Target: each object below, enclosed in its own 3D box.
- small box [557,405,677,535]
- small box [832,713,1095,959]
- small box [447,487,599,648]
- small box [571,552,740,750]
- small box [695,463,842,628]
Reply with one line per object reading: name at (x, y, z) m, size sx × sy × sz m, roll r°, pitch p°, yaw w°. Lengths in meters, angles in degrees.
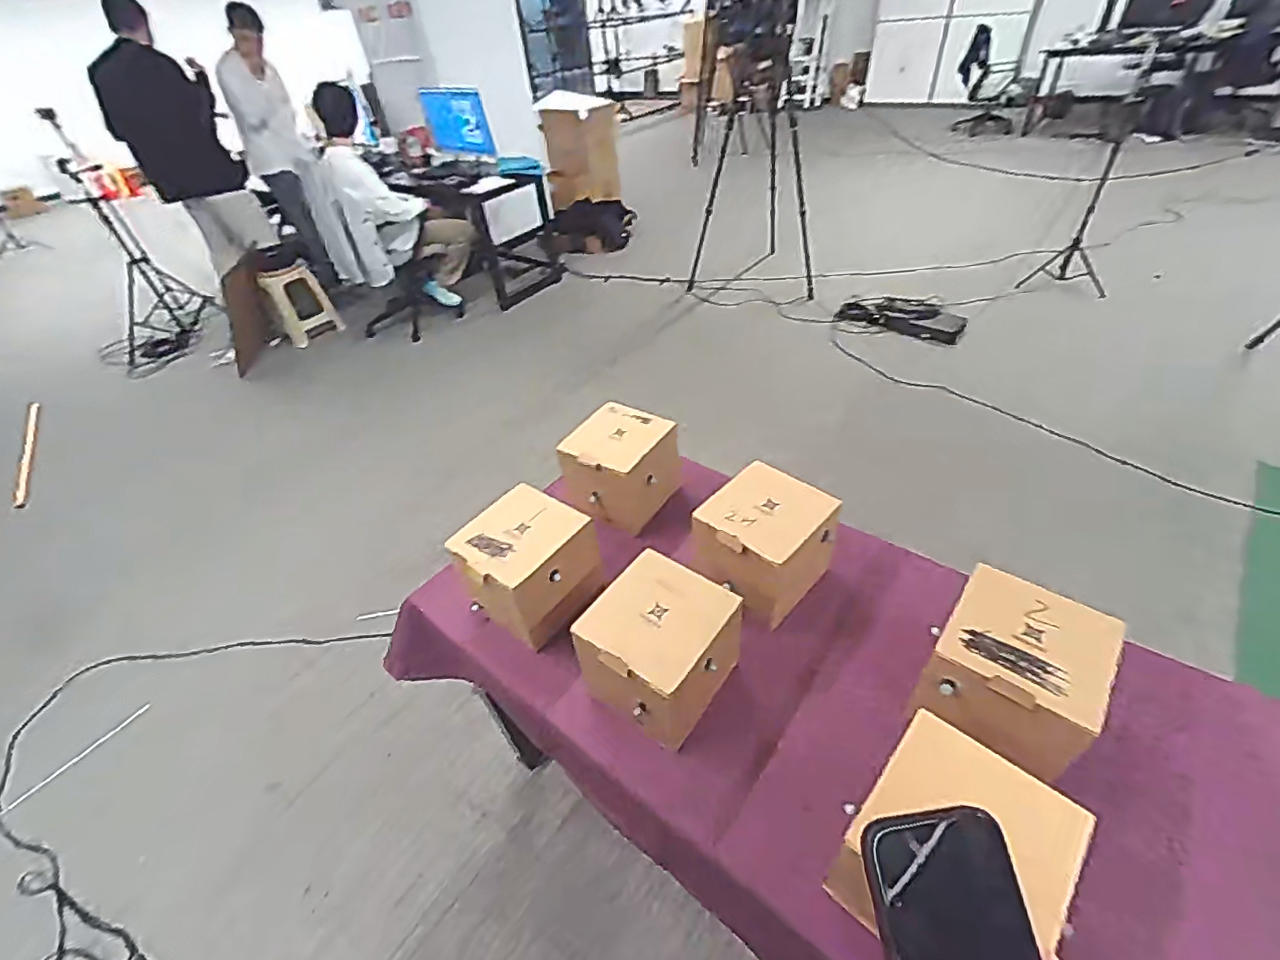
small box at (-0.036, -0.019, 1.081) m, size 0.168 × 0.176 × 0.179 m, roll 21°, pitch 50°, yaw 28°
small box at (0.320, 0.394, 0.565) m, size 0.168 × 0.176 × 0.179 m, roll 29°, pitch 53°, yaw 34°
small box at (-0.186, 0.148, 0.915) m, size 0.168 × 0.176 × 0.179 m, roll 24°, pitch 49°, yaw 30°
small box at (0.030, 0.244, 0.777) m, size 0.168 × 0.176 × 0.179 m, roll 25°, pitch 50°, yaw 31°
small box at (0.208, 0.107, 0.903) m, size 0.179 × 0.176 × 0.168 m, roll -37°, pitch 49°, yaw -28°
